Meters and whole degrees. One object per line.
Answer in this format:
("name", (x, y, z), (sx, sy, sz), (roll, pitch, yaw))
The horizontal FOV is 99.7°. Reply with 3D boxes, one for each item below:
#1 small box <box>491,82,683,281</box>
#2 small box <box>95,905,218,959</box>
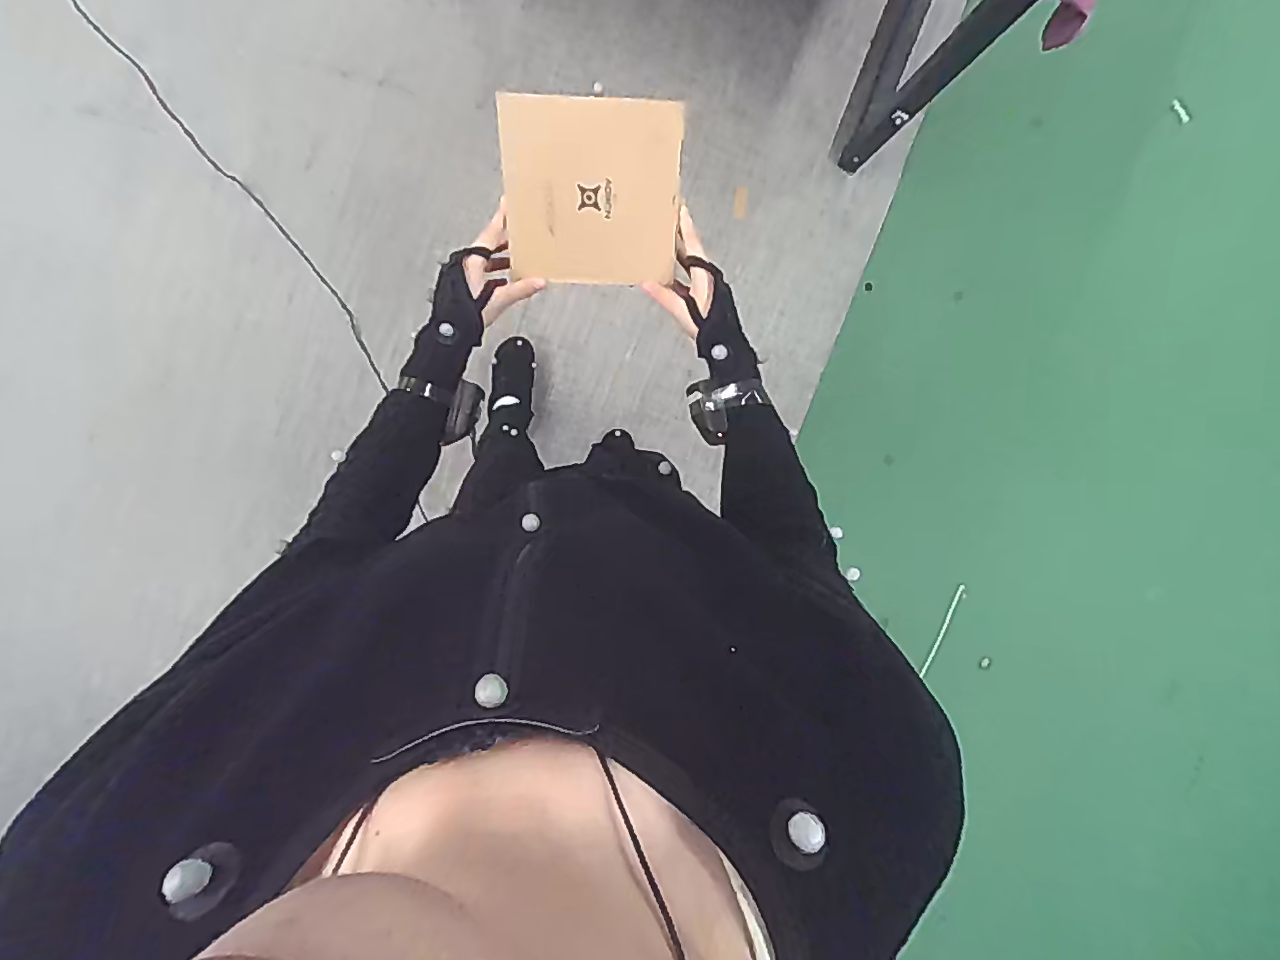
("small box", (-0.054, -0.322, 0.593), (0.179, 0.176, 0.168), (1, 119, -3))
("small box", (-0.970, 0.981, 1.043), (0.168, 0.176, 0.179), (26, 94, -6))
